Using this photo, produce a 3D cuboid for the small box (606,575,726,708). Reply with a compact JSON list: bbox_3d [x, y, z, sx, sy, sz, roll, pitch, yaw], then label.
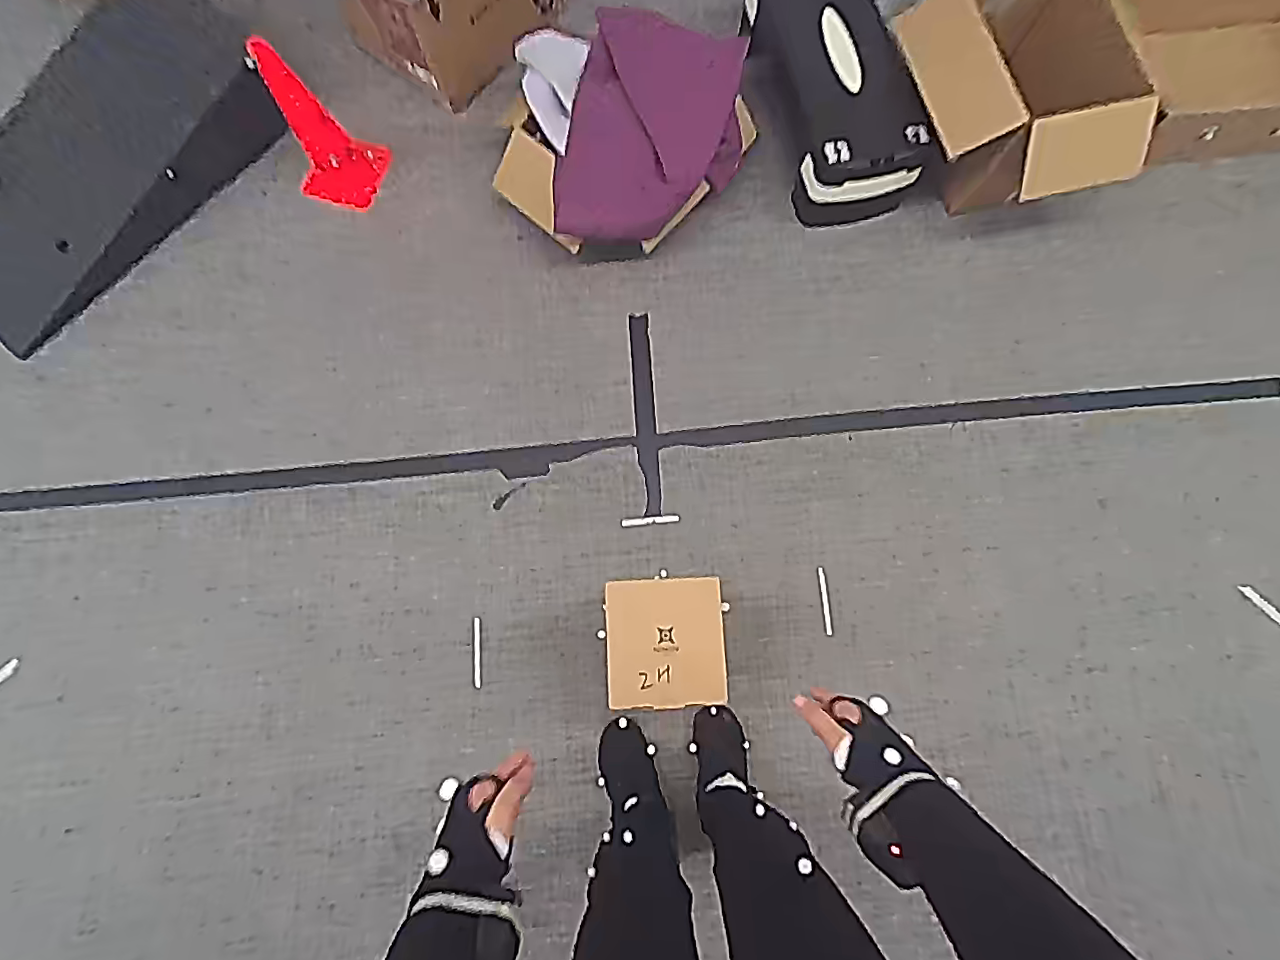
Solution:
[{"bbox_3d":[0.034,0.239,0.826,0.168,0.176,0.179,-2,79,0],"label":"small box"}]
